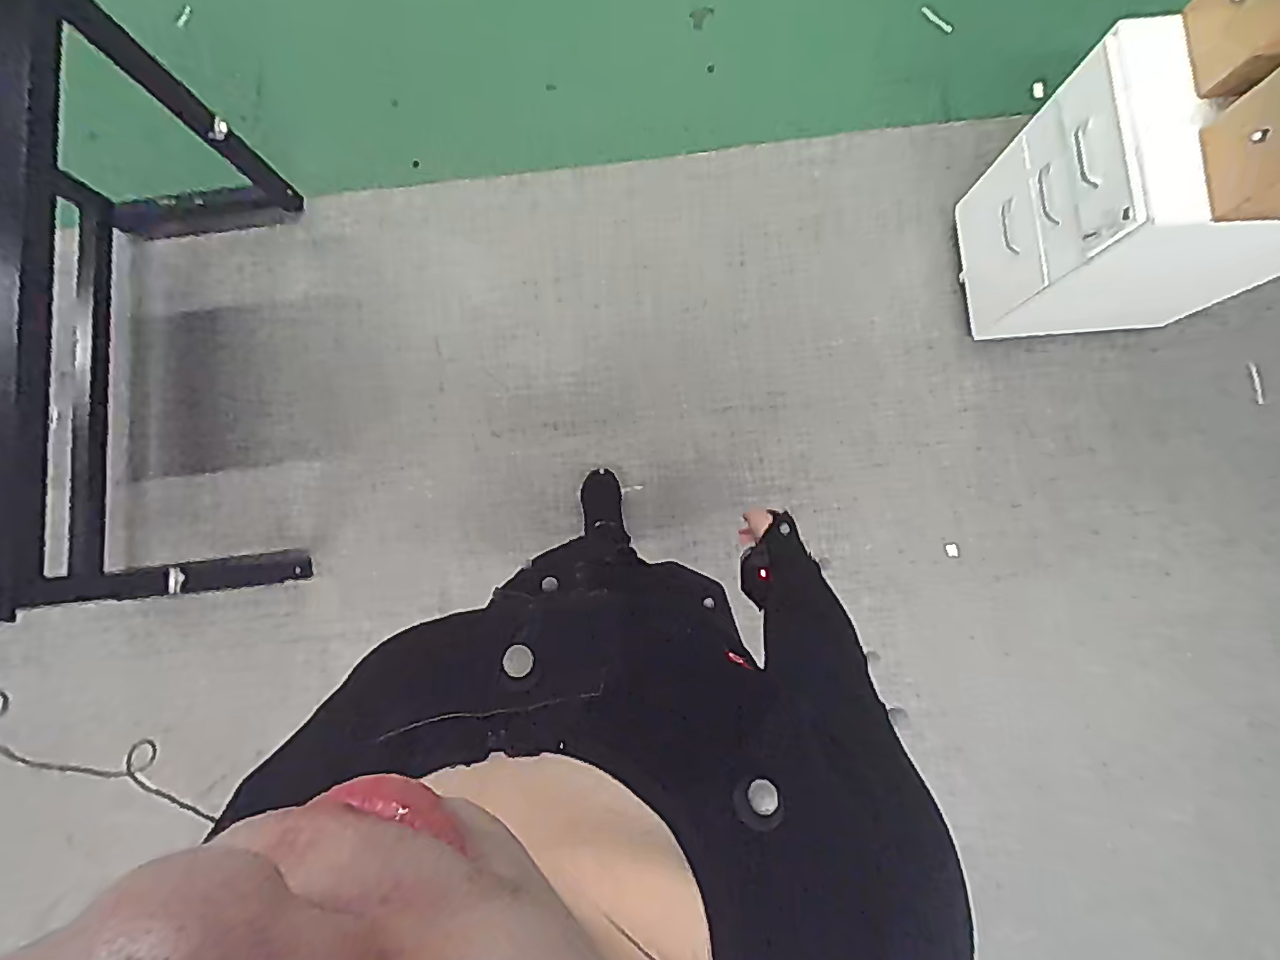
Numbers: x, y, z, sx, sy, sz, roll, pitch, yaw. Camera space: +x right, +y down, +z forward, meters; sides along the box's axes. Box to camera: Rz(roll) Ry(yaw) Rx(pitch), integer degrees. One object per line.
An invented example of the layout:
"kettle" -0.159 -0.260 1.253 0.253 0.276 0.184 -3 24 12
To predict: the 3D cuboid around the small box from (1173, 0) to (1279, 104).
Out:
"small box" 1.052 -0.774 0.901 0.168 0.176 0.179 -4 84 1
